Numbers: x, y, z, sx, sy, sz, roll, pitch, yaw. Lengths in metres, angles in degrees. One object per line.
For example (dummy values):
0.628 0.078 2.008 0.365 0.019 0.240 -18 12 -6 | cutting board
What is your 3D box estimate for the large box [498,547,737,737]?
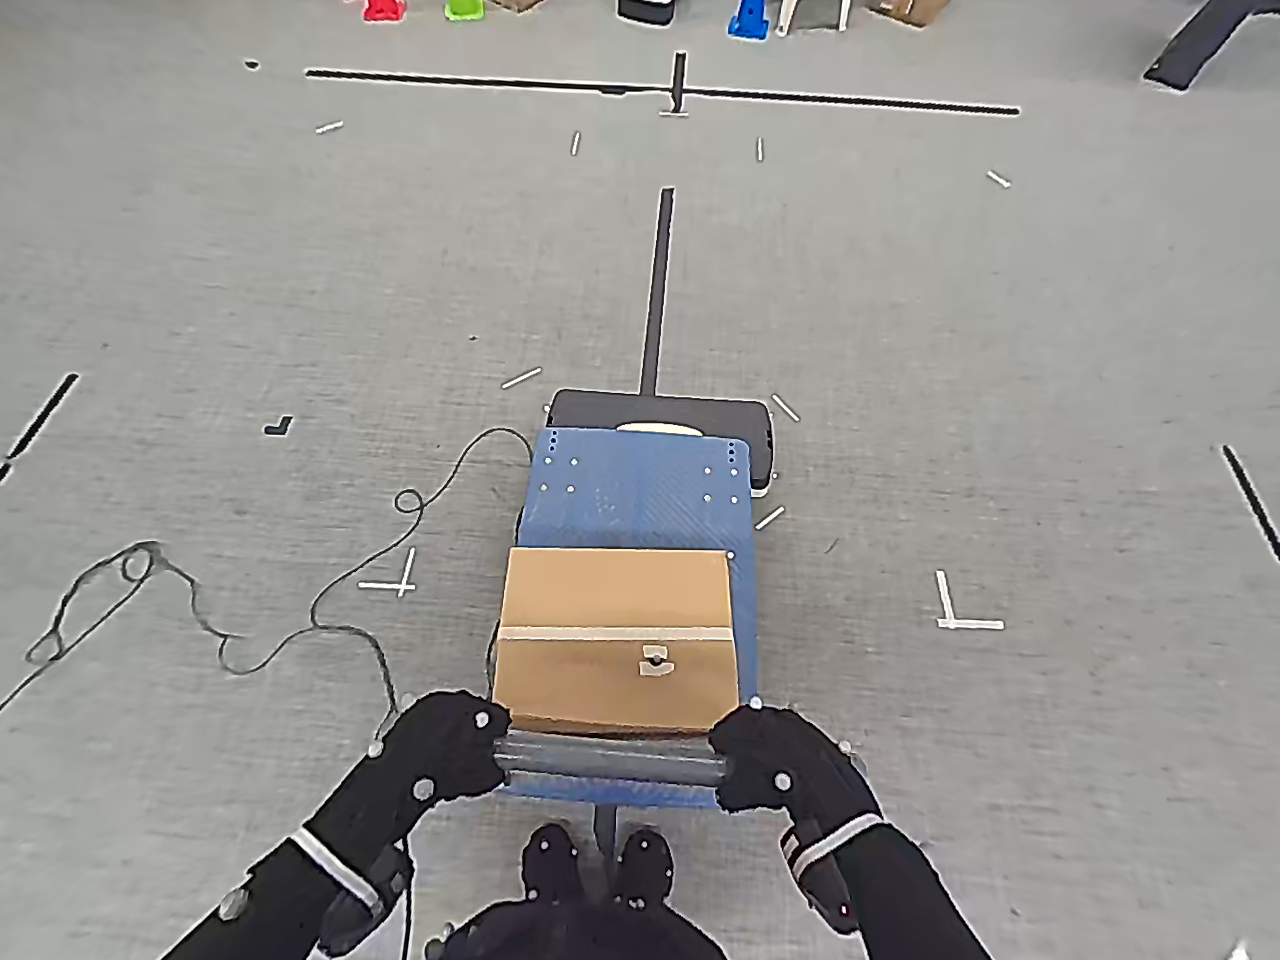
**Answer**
-0.045 0.336 1.088 0.408 0.320 0.320 1 62 -2 | large box
